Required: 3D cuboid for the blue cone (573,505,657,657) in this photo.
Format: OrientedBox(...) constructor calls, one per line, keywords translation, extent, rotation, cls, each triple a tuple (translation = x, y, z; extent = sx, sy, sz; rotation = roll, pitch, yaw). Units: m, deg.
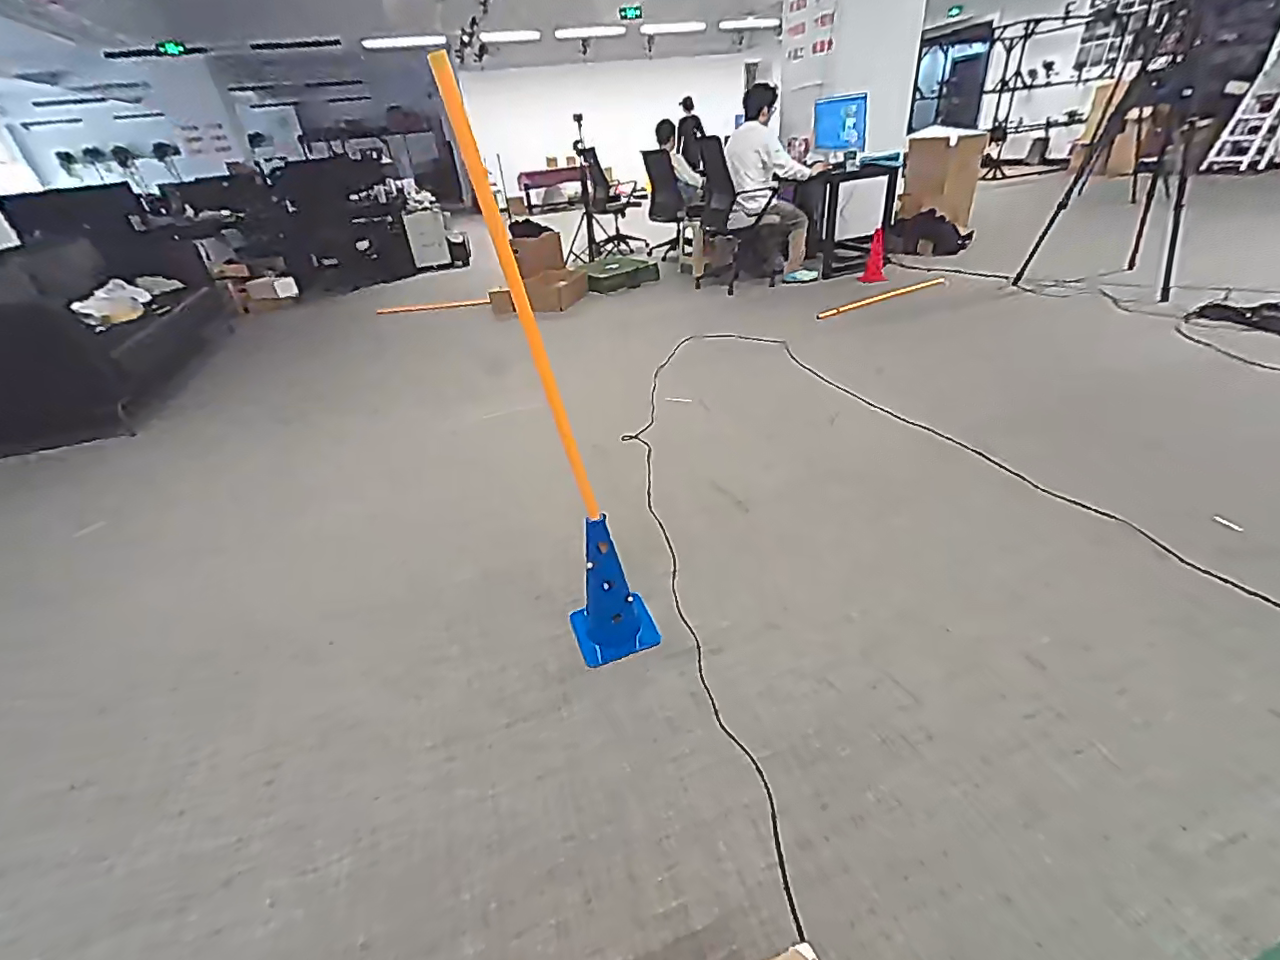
OrientedBox(translation=(-0.084, 0.227, 1.302), extent=(0.193, 0.380, 0.192), rotation=(-18, 33, -15), cls="blue cone")
